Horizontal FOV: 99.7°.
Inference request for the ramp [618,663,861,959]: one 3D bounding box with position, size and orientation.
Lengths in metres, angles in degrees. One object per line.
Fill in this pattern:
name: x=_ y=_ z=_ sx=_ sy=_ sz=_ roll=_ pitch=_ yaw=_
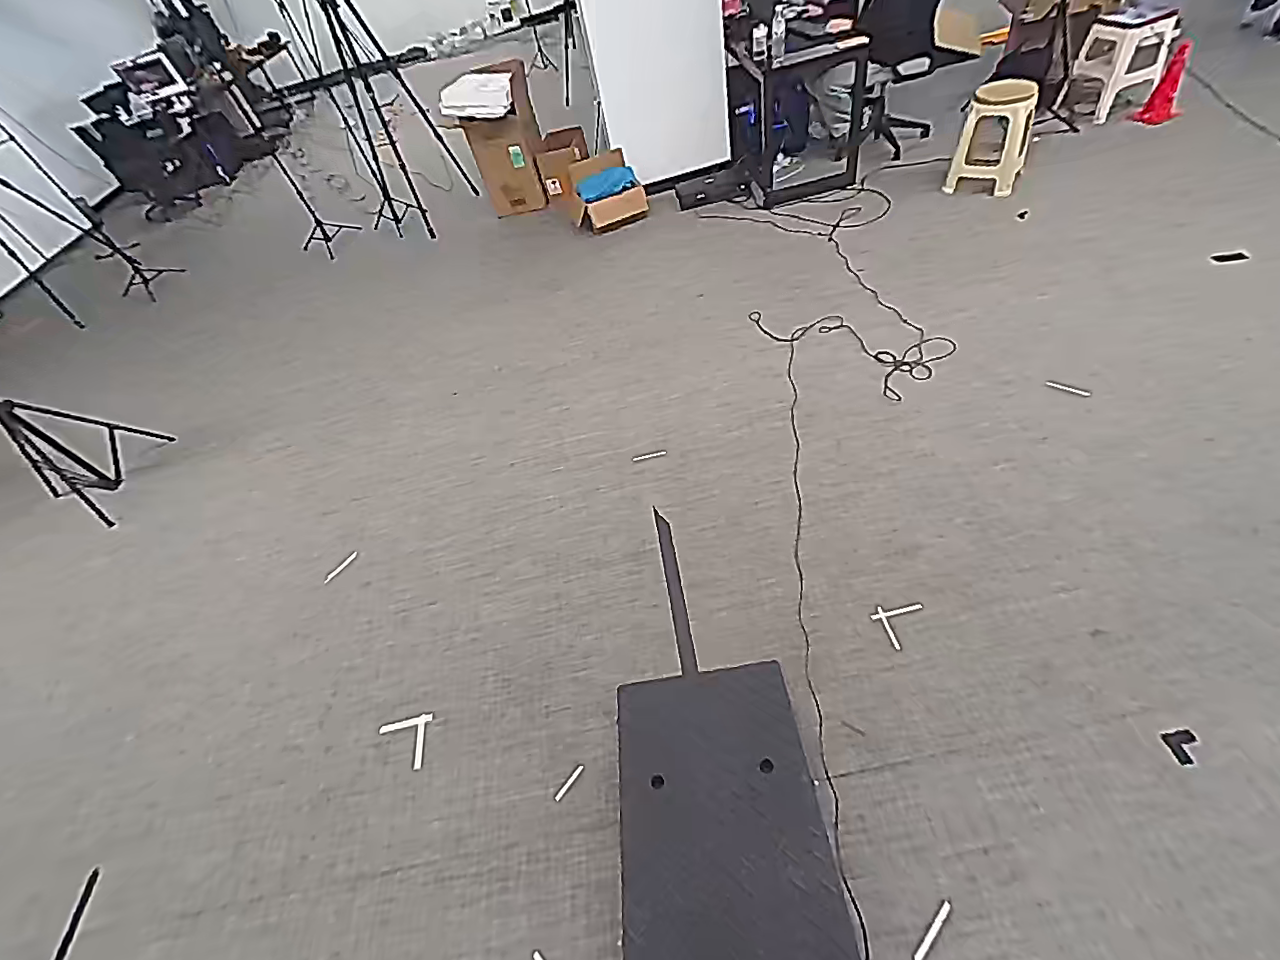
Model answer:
ramp: x=0.194 y=0.896 z=1.230 sx=0.509 sy=0.206 sz=0.991 roll=-13 pitch=48 yaw=5
